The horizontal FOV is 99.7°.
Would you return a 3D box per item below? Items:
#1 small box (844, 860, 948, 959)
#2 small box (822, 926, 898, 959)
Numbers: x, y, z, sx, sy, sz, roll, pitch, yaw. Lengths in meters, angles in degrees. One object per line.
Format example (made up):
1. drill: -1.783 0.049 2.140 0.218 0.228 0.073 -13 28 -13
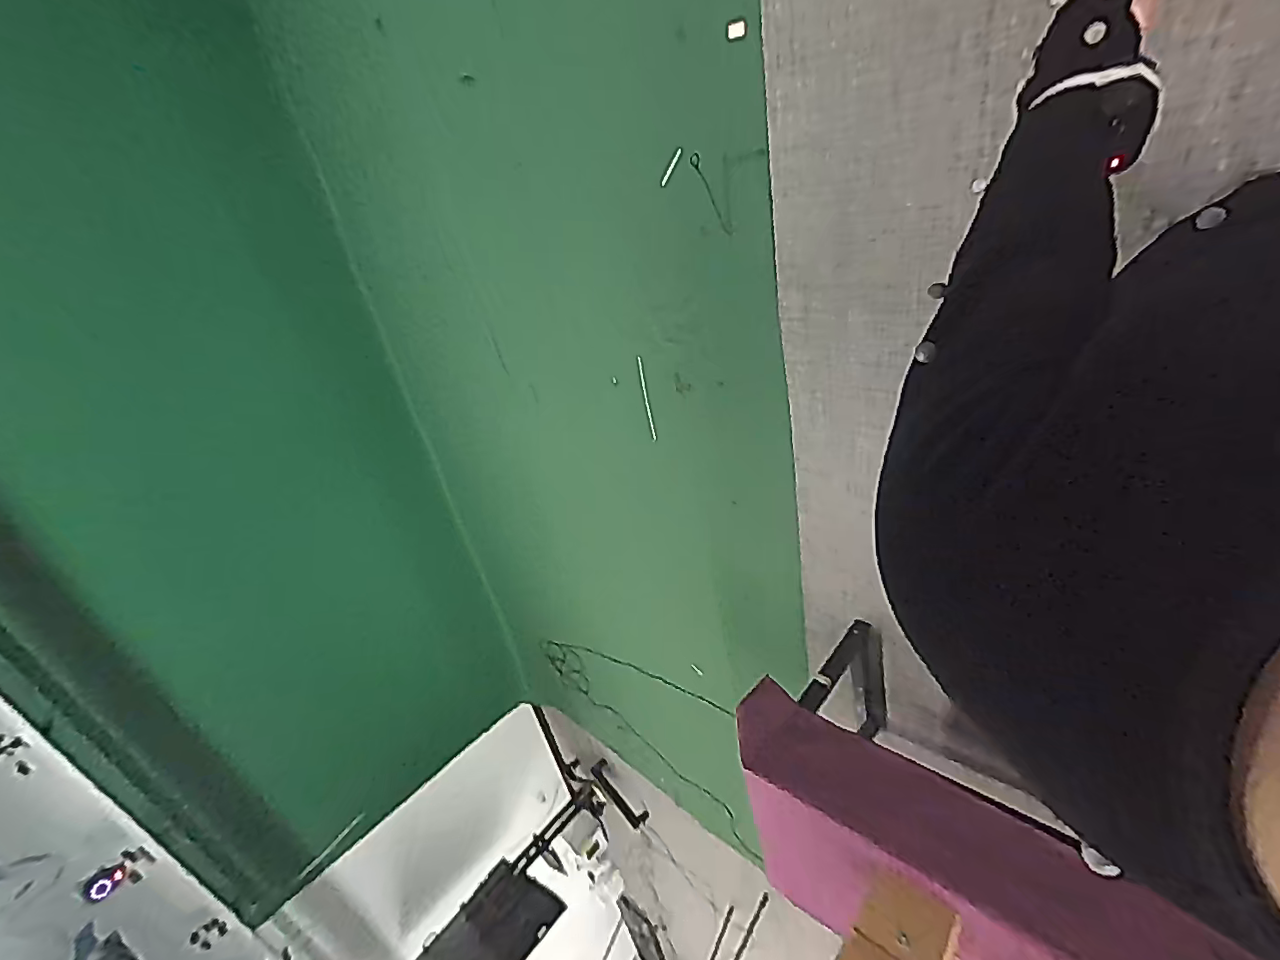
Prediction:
1. small box: 0.597 1.046 1.259 0.179 0.176 0.168 14 127 43
2. small box: 0.485 1.120 1.166 0.179 0.176 0.168 12 126 43
